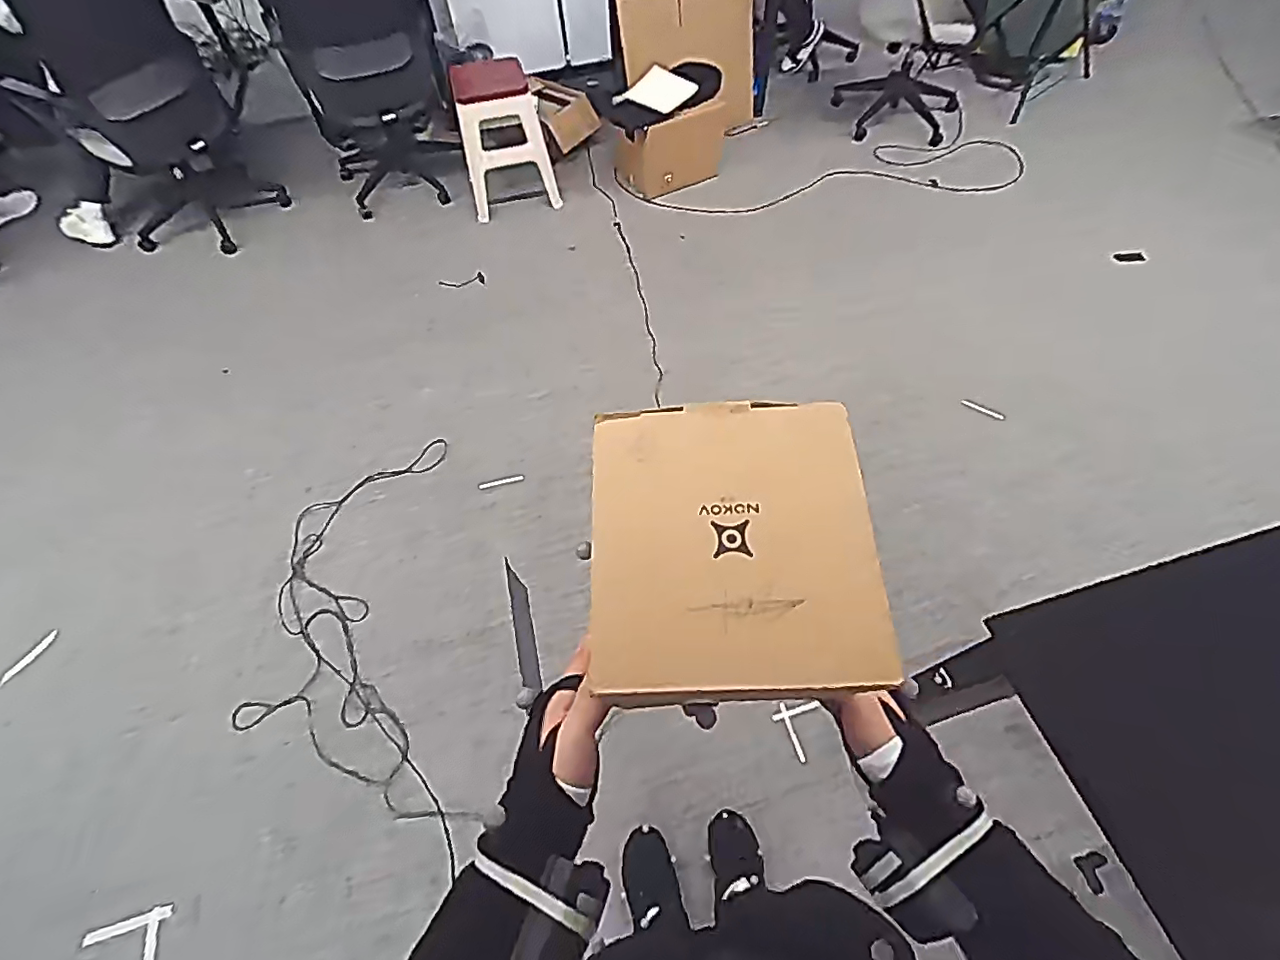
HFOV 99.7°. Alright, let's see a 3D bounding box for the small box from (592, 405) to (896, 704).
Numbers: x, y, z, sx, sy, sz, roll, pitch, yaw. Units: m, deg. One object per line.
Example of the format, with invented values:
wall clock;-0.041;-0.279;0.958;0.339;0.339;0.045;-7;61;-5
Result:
small box;0.056;0.065;0.396;0.168;0.176;0.179;-3;66;2
